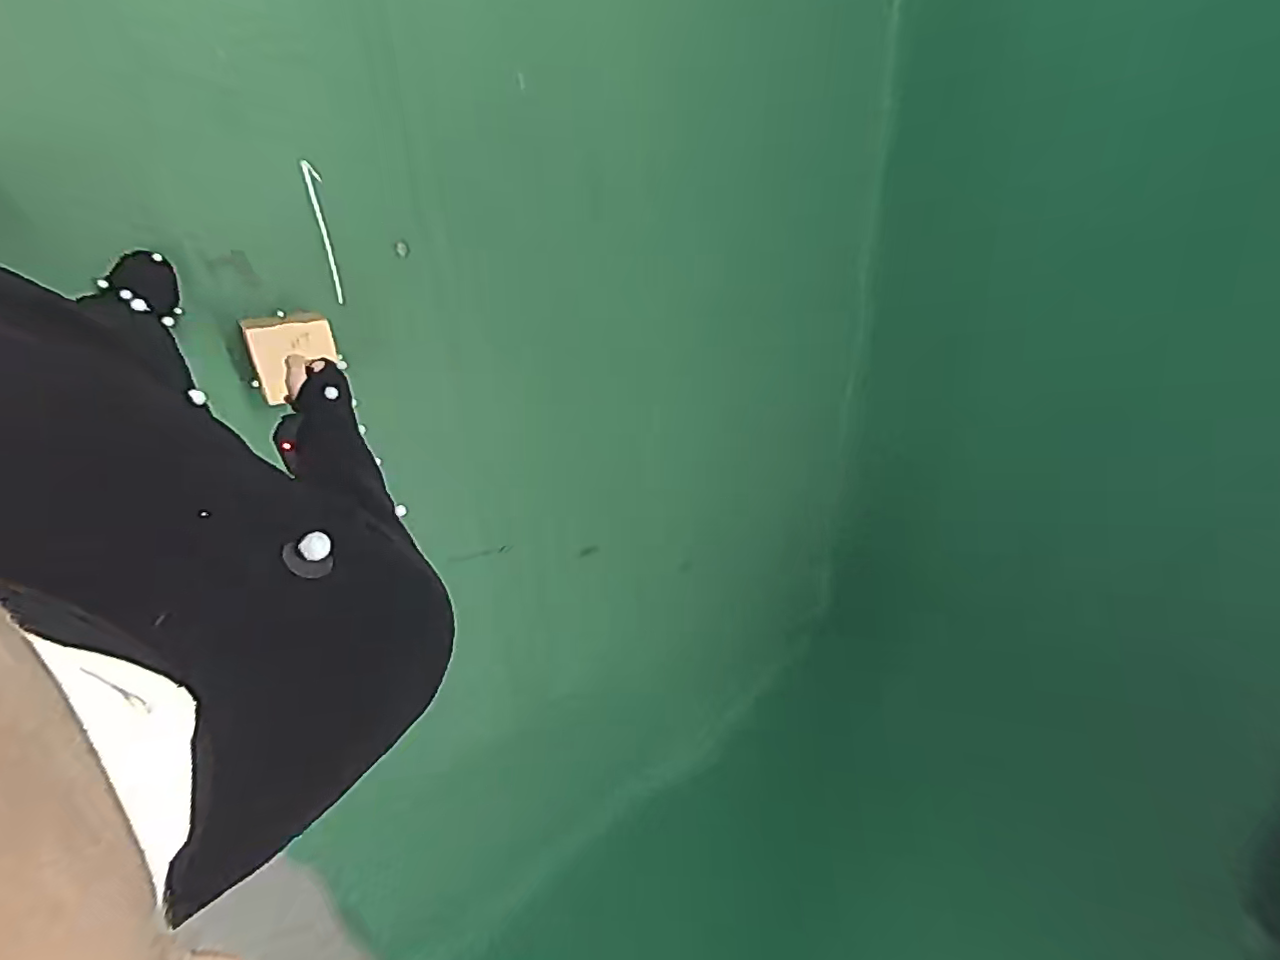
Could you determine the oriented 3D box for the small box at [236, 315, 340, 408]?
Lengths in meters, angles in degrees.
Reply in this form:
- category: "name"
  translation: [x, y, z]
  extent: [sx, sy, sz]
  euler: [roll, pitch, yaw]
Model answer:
- category: "small box"
  translation: [-0.843, -0.290, 1.298]
  extent: [0.168, 0.176, 0.179]
  euler: [-19, 121, -34]
